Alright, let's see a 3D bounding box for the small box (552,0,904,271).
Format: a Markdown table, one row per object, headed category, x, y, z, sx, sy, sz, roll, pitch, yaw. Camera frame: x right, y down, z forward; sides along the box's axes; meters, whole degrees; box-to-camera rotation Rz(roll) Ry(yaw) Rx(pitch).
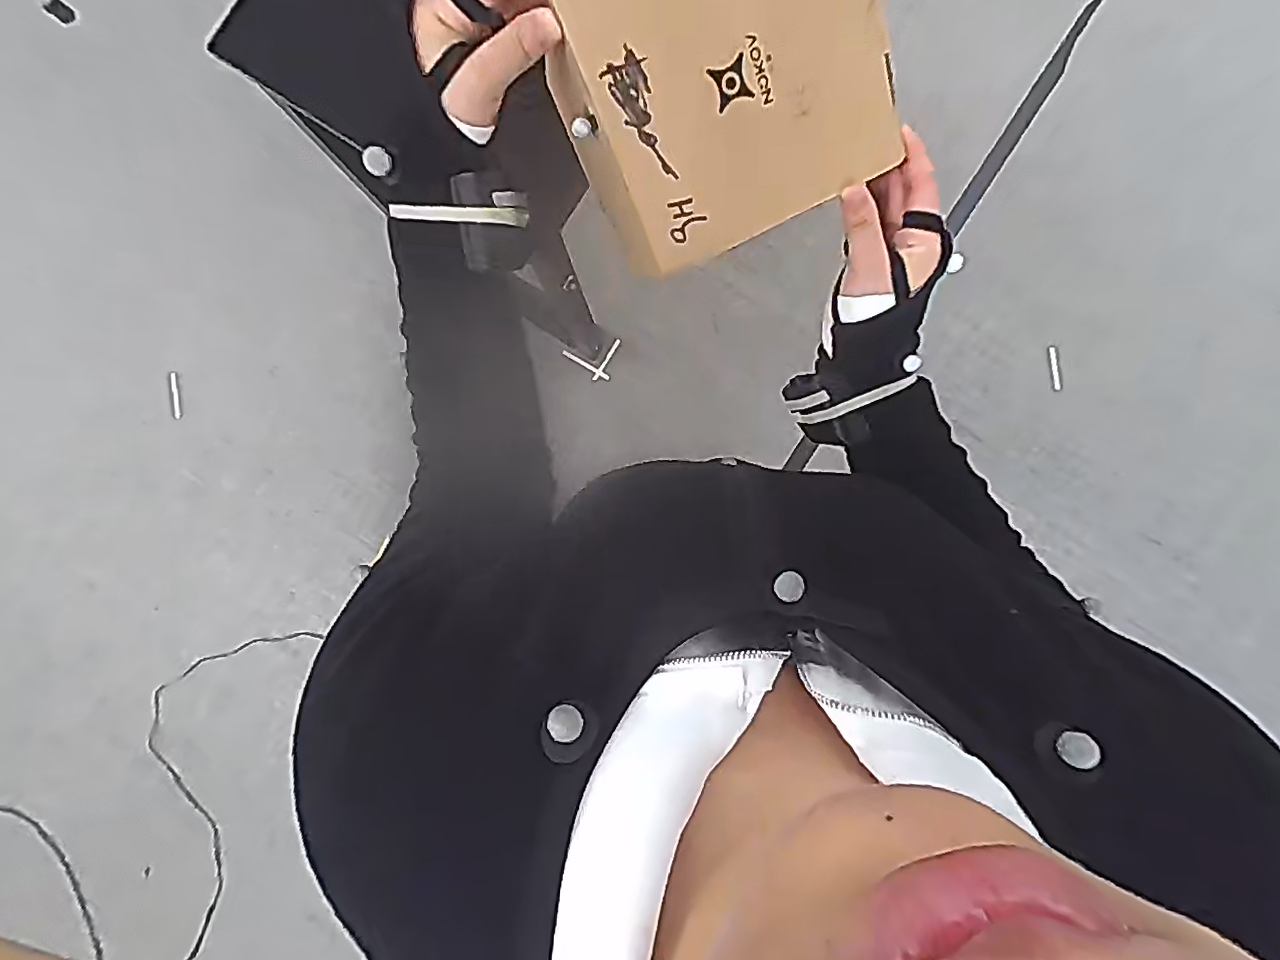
| category | x | y | z | sx | sy | sz | roll | pitch | yaw |
| --- | --- | --- | --- | --- | --- | --- | --- | --- | --- |
| small box | 0.049 | -0.270 | 0.389 | 0.179 | 0.176 | 0.168 | -26 | 114 | 1 |
